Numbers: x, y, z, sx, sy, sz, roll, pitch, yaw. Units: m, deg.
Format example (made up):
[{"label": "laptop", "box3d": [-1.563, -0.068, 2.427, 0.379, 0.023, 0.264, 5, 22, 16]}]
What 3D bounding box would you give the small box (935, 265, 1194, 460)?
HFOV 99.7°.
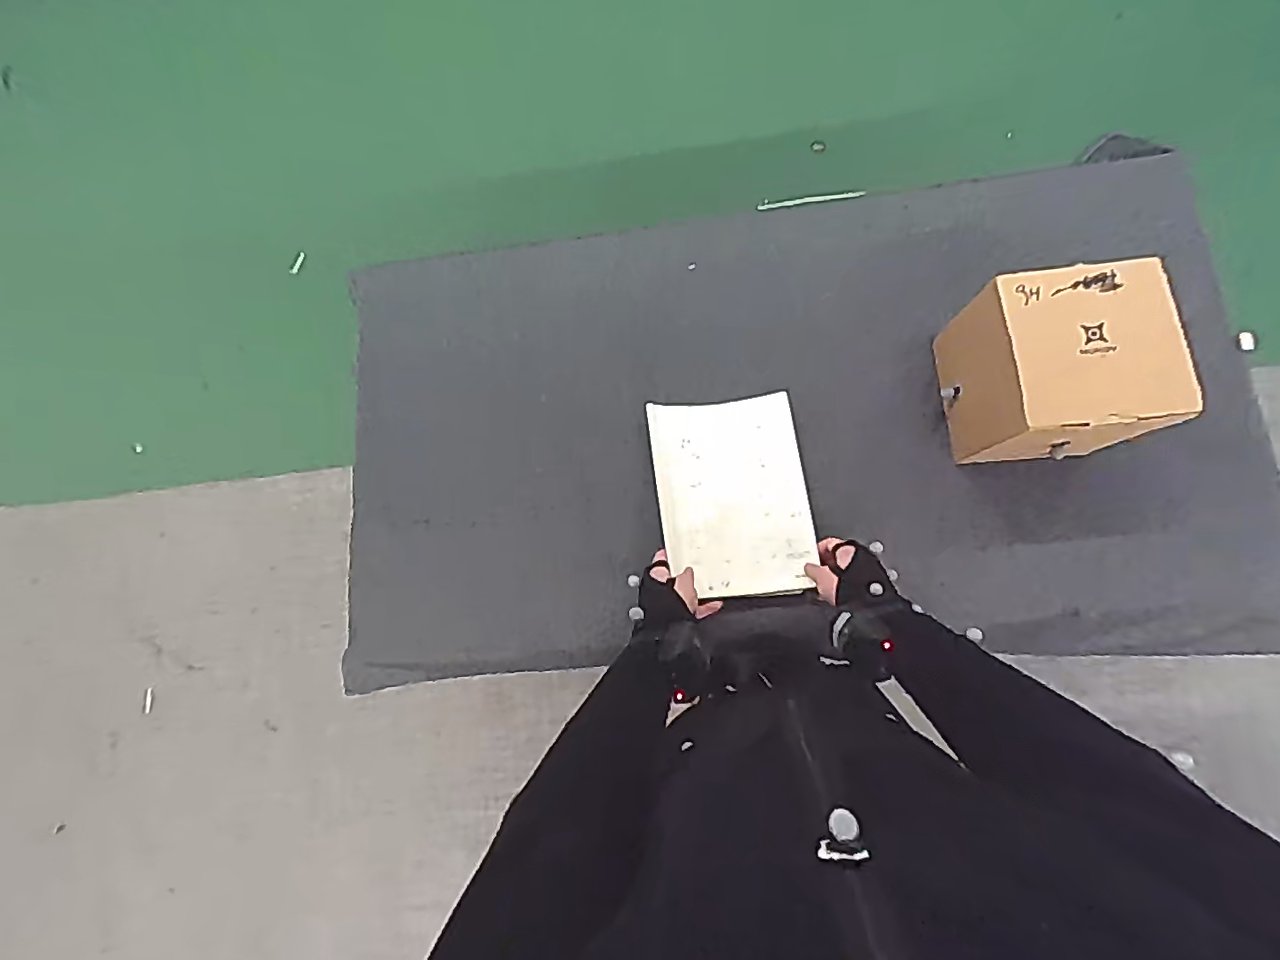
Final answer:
[{"label": "small box", "box3d": [0.478, -0.123, 0.640, 0.168, 0.176, 0.179, -5, 80, 5]}]
